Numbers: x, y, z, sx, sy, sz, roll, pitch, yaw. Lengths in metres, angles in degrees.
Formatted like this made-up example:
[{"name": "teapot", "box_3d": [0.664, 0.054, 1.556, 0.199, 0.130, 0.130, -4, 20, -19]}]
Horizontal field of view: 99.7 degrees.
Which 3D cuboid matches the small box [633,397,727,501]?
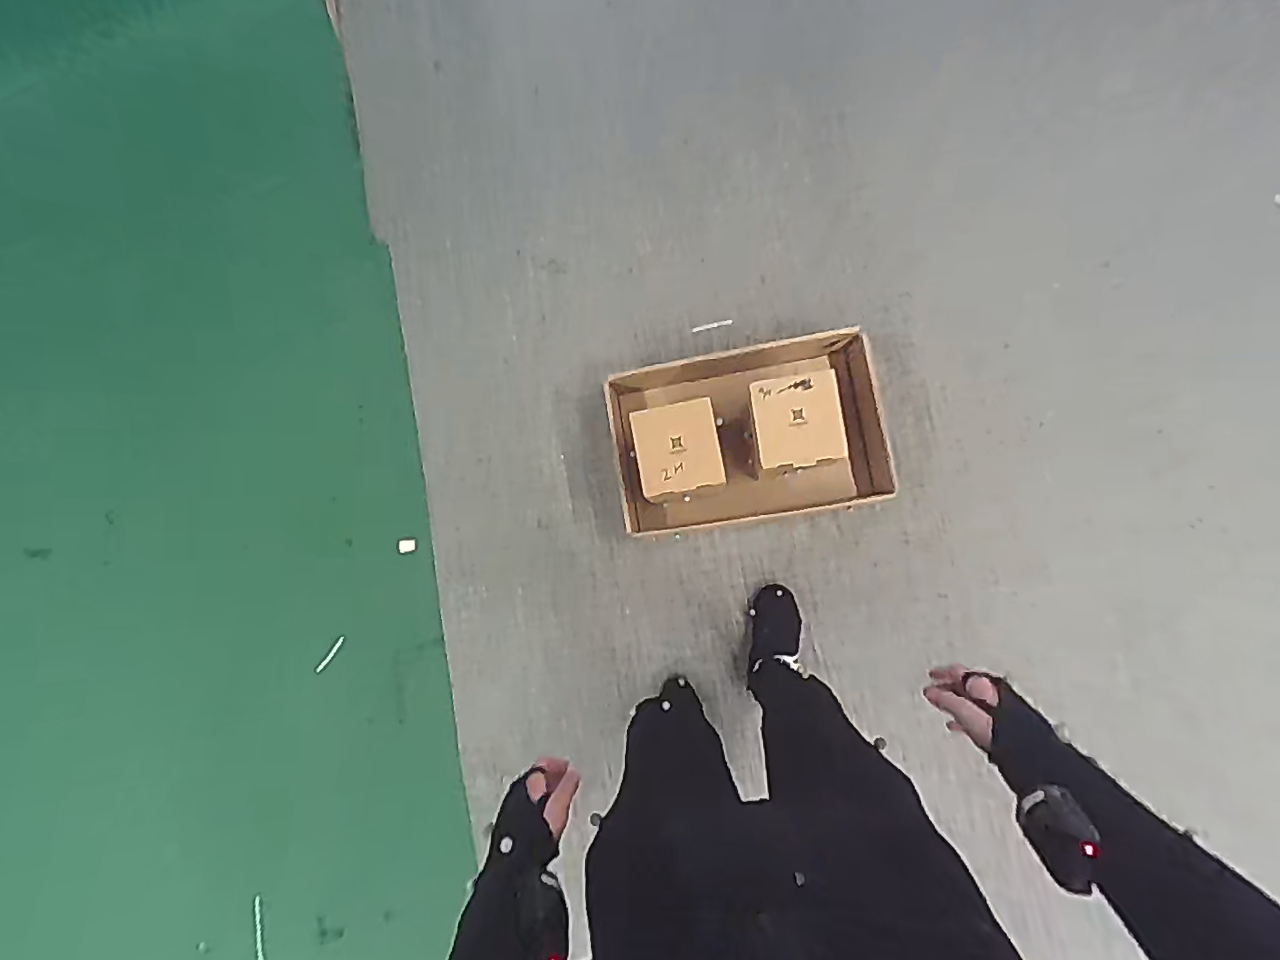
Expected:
[{"name": "small box", "box_3d": [0.086, -0.058, 1.143, 0.168, 0.176, 0.179, -10, 84, 6]}]
